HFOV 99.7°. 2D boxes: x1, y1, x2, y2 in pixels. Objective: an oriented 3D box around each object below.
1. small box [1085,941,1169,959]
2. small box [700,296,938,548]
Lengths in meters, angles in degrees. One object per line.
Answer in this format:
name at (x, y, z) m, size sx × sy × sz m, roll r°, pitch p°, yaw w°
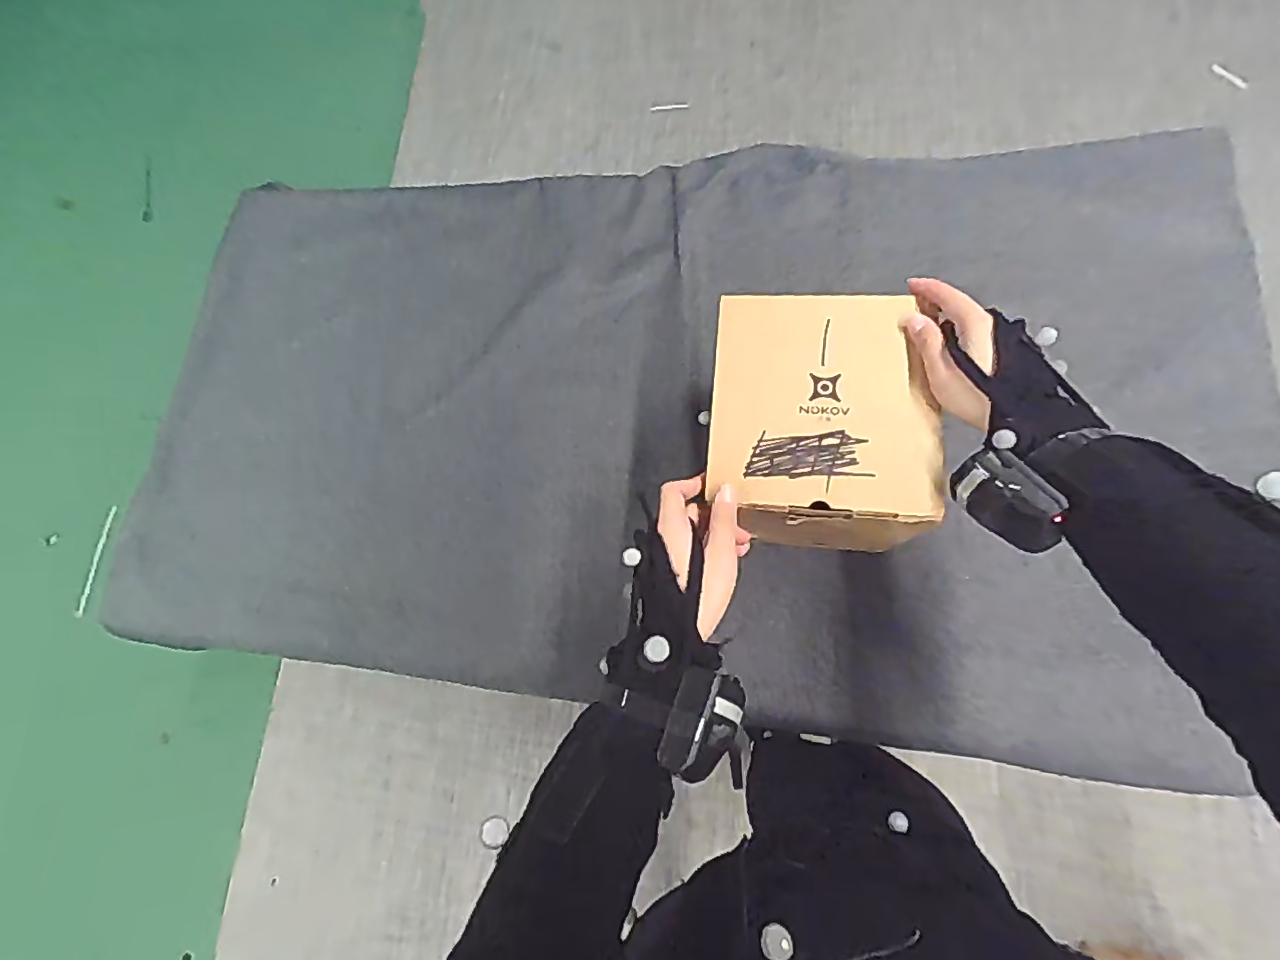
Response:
small box at (0.857, 0.907, 0.870) m, size 0.168 × 0.176 × 0.179 m, roll 6°, pitch 78°, yaw 11°
small box at (0.147, -0.040, 0.478) m, size 0.168 × 0.176 × 0.179 m, roll 4°, pitch 75°, yaw 10°
